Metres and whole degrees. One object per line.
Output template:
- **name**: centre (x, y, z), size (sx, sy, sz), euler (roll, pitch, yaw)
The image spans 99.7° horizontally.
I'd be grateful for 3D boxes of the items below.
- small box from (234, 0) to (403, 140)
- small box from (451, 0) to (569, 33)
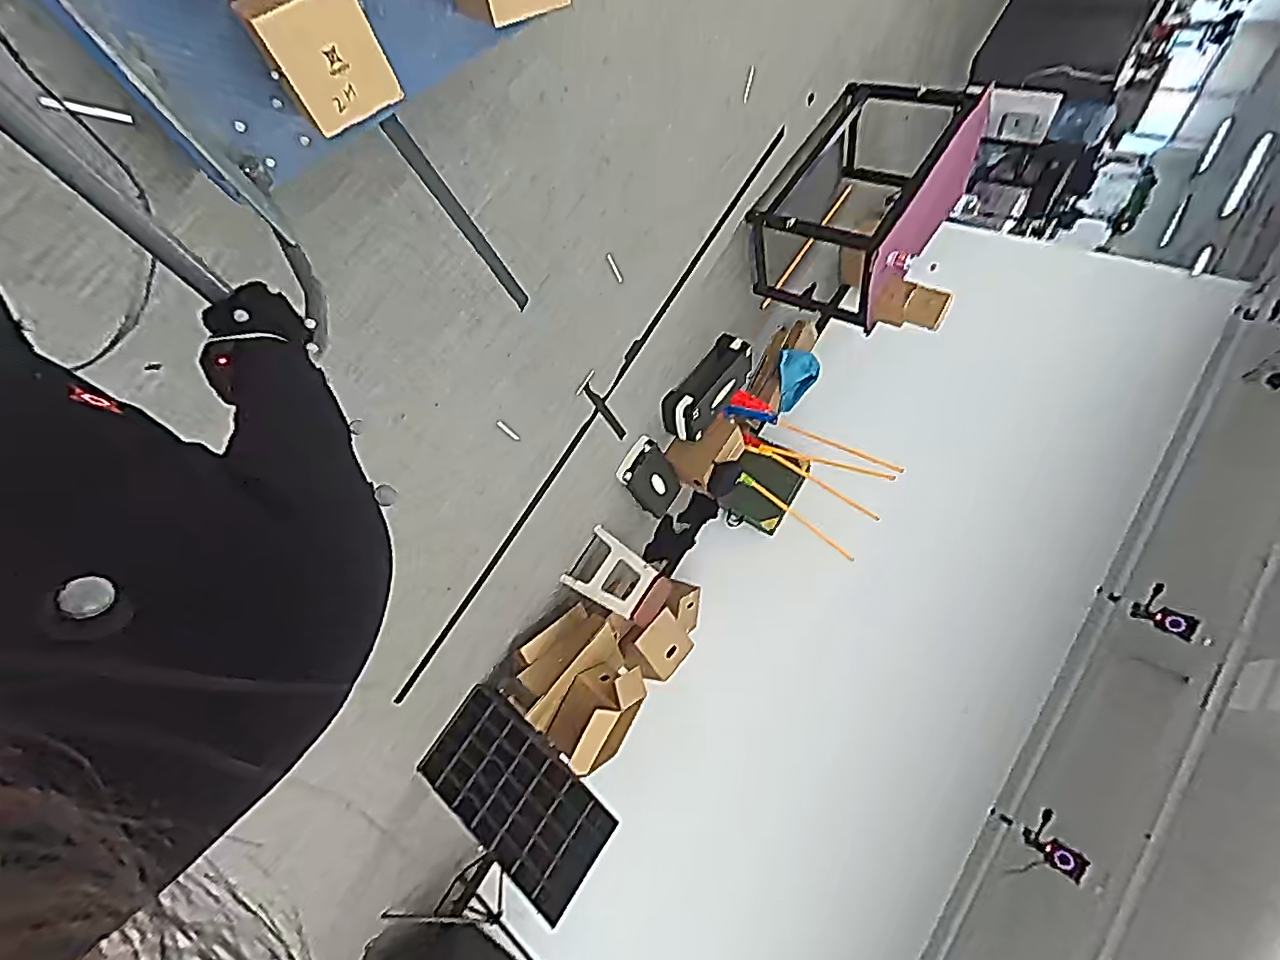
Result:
- **small box**: centre (-0.562, -0.744, 0.948), size (0.168, 0.176, 0.179), euler (-37, 148, -12)
- **small box**: centre (-0.262, -0.983, 1.019), size (0.179, 0.176, 0.168), euler (-33, 147, -17)
